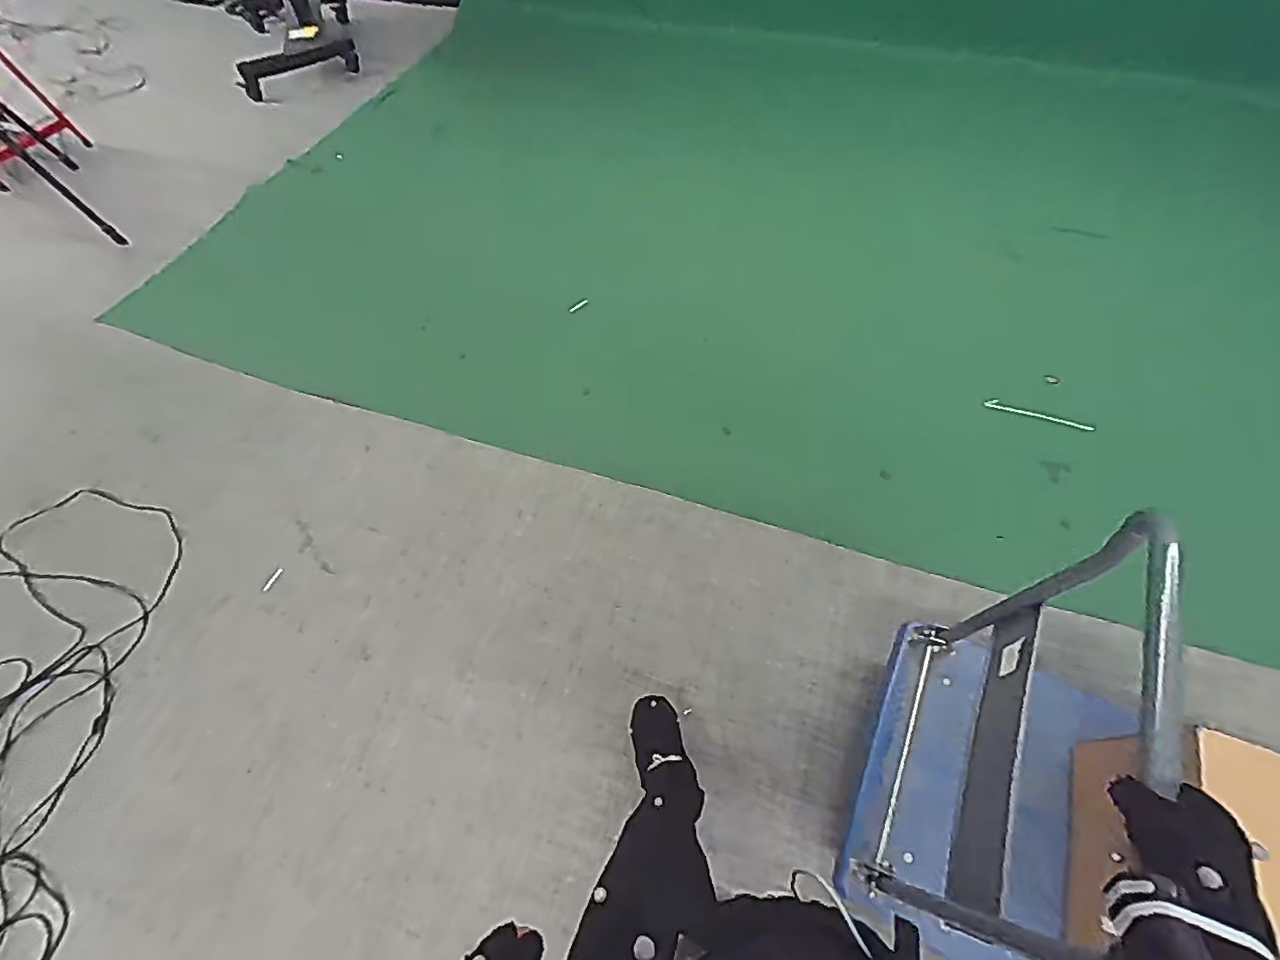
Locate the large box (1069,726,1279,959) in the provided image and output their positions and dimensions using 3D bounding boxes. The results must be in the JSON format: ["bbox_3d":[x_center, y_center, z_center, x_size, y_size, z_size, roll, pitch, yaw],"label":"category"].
[{"bbox_3d":[0.926,0.666,0.837,0.320,0.320,0.408,20,61,14],"label":"large box"}]
